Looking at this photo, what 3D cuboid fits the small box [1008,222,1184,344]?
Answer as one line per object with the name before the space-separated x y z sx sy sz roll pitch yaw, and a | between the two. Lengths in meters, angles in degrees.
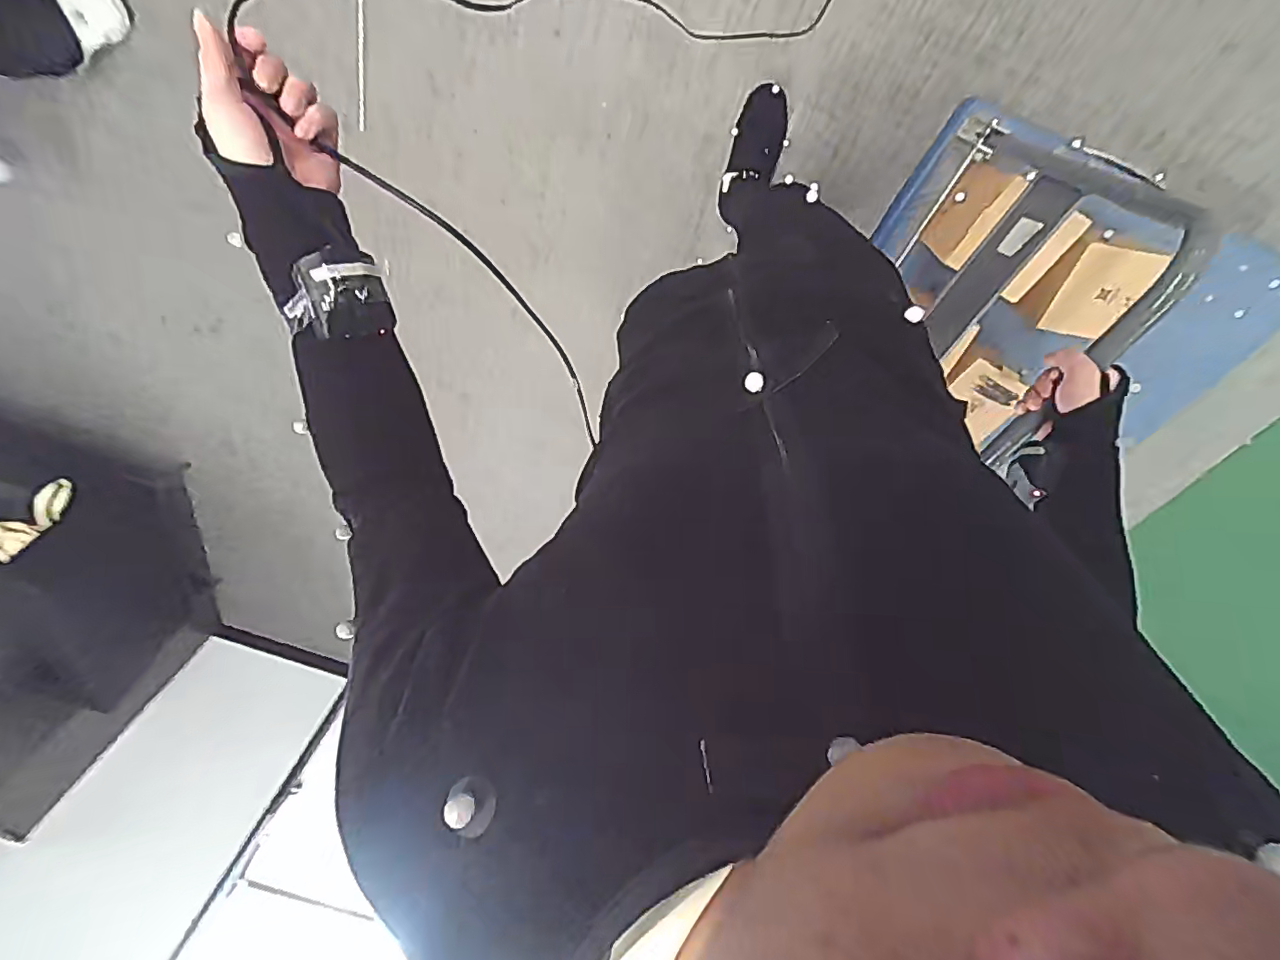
small box | 0.879 -0.394 1.070 0.179 0.176 0.168 12 130 1
